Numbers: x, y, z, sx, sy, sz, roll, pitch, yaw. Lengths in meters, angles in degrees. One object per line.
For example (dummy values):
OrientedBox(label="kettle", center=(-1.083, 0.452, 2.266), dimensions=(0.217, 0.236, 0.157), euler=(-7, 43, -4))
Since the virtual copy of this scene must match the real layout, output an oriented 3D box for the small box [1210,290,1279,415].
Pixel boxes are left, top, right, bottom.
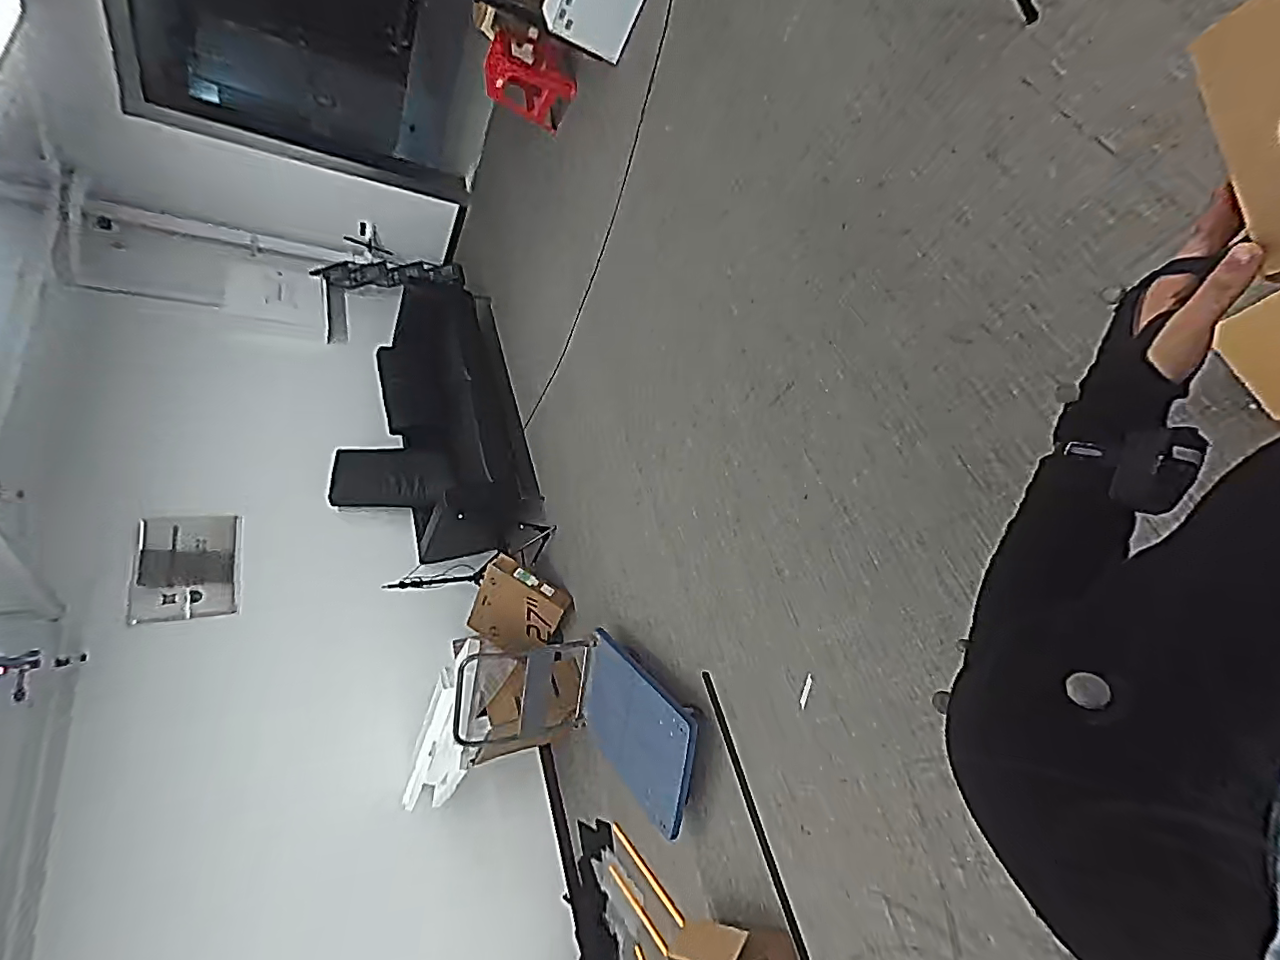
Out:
OrientedBox(label="small box", center=(1.028, -0.202, 0.810), dimensions=(0.168, 0.176, 0.179), euler=(-44, 55, 48))
